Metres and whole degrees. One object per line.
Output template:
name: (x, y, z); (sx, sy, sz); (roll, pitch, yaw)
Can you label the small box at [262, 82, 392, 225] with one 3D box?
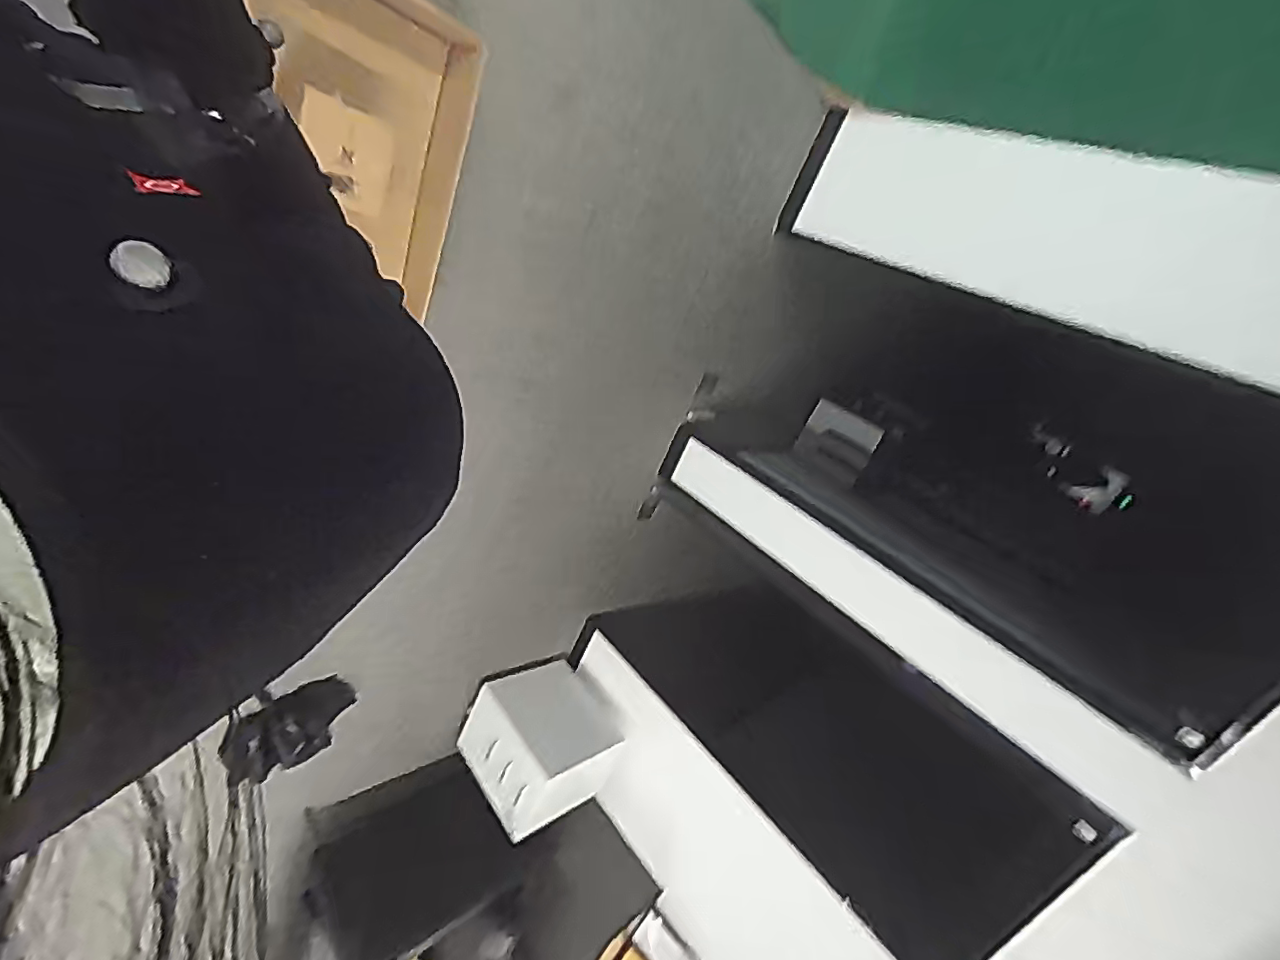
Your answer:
small box: (-0.613, -0.632, 1.052); (0.168, 0.176, 0.179); (-4, 125, -49)
